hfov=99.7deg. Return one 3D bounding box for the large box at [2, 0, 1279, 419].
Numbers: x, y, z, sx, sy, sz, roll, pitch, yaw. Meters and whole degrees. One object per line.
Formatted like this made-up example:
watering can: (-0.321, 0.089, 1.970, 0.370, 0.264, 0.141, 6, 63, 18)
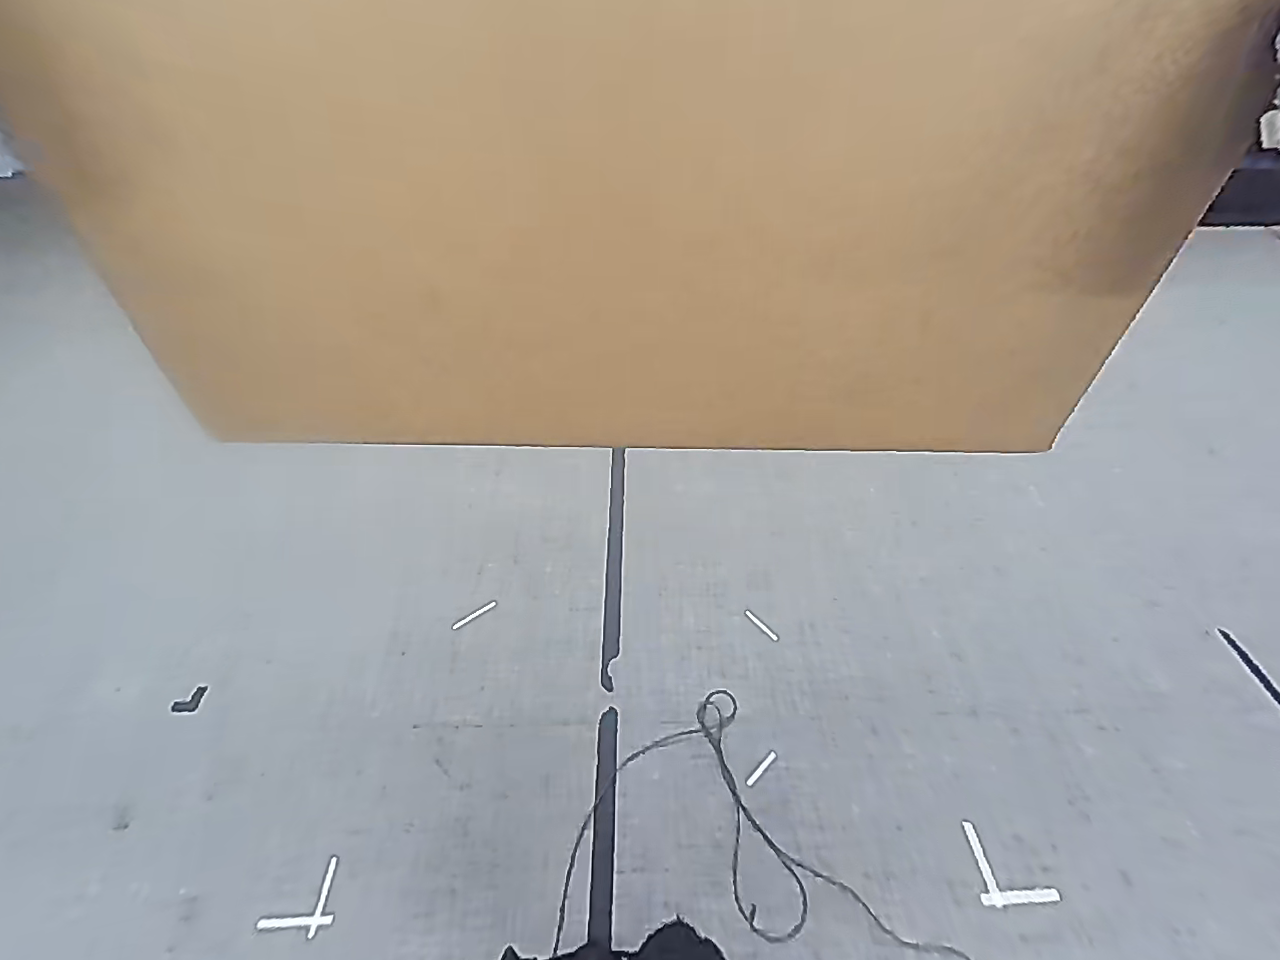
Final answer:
large box: (0.000, -0.242, 0.279, 0.408, 0.320, 0.320, 2, 43, 0)
